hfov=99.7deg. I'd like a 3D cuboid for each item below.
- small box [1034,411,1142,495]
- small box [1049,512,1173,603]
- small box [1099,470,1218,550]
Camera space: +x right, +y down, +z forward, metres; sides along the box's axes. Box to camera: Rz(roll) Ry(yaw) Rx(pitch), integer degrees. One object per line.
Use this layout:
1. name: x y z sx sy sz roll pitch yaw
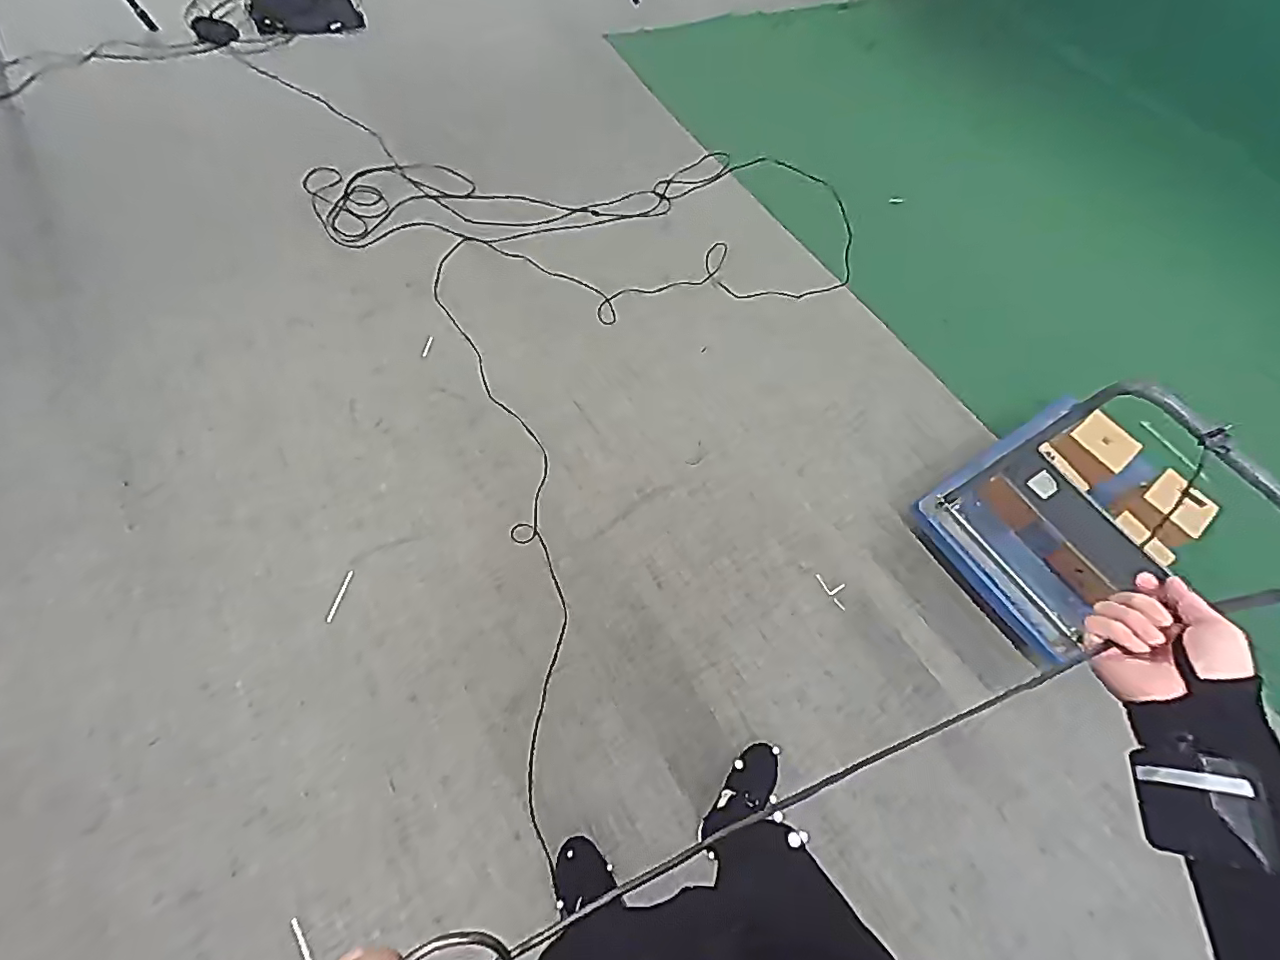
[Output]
1. small box: 1.401 -0.081 1.707 0.179 0.176 0.168 -32 72 -22
2. small box: 1.329 0.224 1.538 0.179 0.176 0.168 -27 70 -19
3. small box: 1.553 0.105 1.632 0.179 0.176 0.168 -32 71 -21
